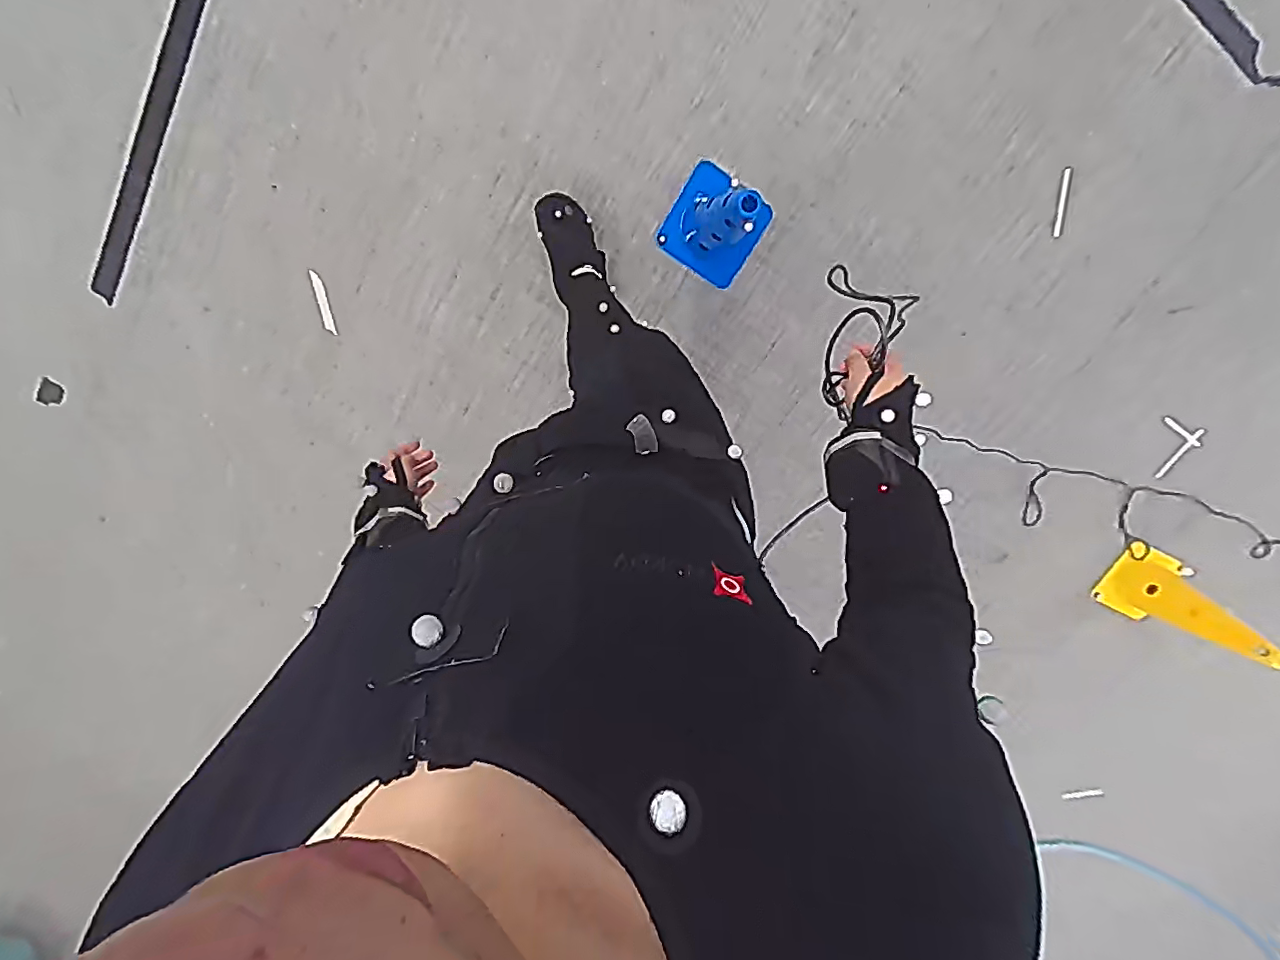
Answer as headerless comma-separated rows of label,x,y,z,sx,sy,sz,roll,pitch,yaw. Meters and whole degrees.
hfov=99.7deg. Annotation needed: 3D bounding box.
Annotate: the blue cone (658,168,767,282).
blue cone,0.163,-0.498,1.026,0.193,0.380,0.192,31,107,-12
